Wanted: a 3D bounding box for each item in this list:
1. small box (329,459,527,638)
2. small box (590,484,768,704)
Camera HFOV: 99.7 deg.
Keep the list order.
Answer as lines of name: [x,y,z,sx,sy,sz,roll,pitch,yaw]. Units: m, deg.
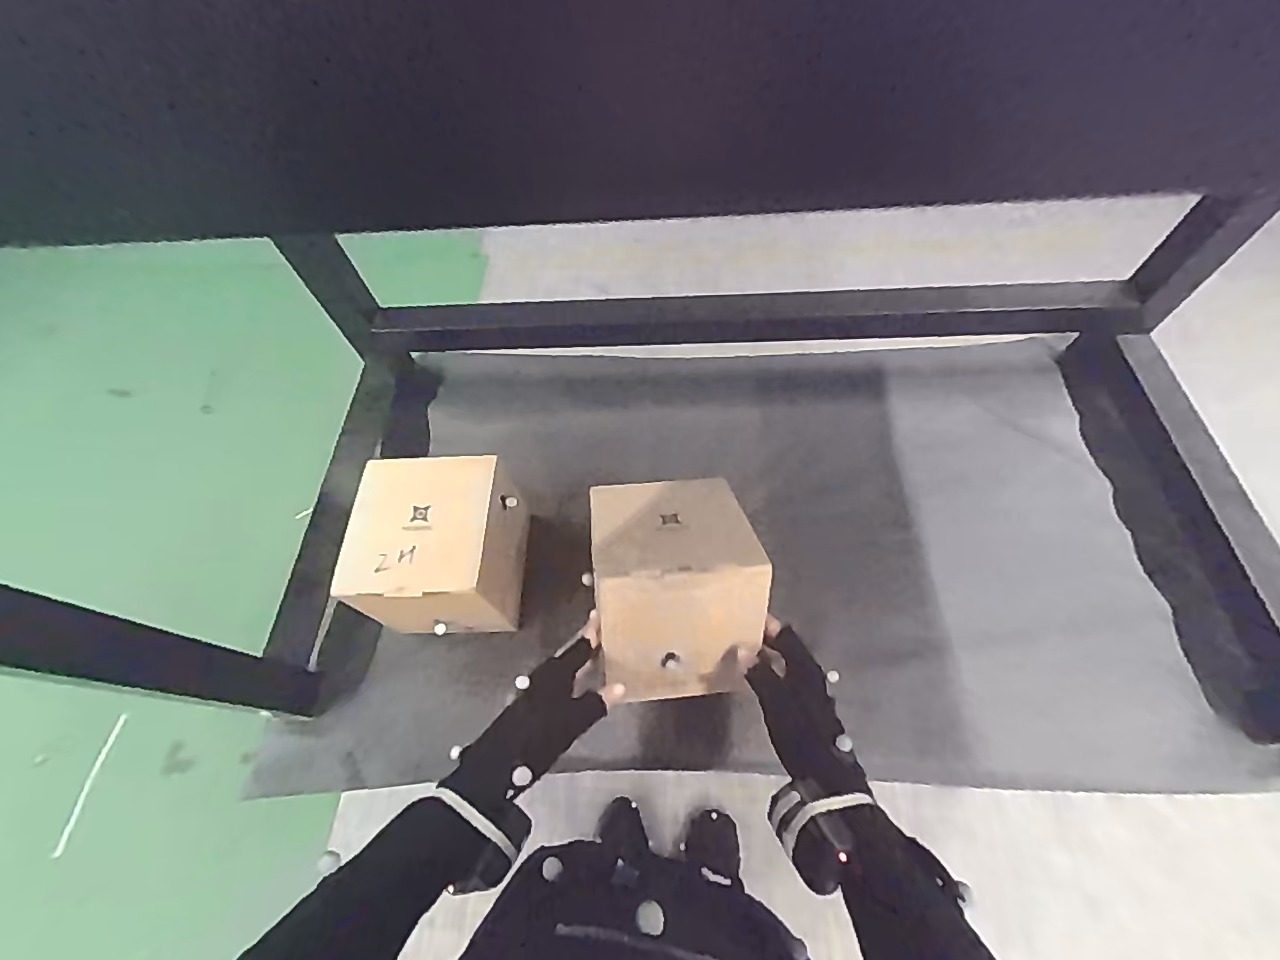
small box: [-0.249,0.092,0.690,0.168,0.176,0.179,-2,59,4]
small box: [0.030,0.118,0.605,0.168,0.176,0.179,-4,25,-6]
